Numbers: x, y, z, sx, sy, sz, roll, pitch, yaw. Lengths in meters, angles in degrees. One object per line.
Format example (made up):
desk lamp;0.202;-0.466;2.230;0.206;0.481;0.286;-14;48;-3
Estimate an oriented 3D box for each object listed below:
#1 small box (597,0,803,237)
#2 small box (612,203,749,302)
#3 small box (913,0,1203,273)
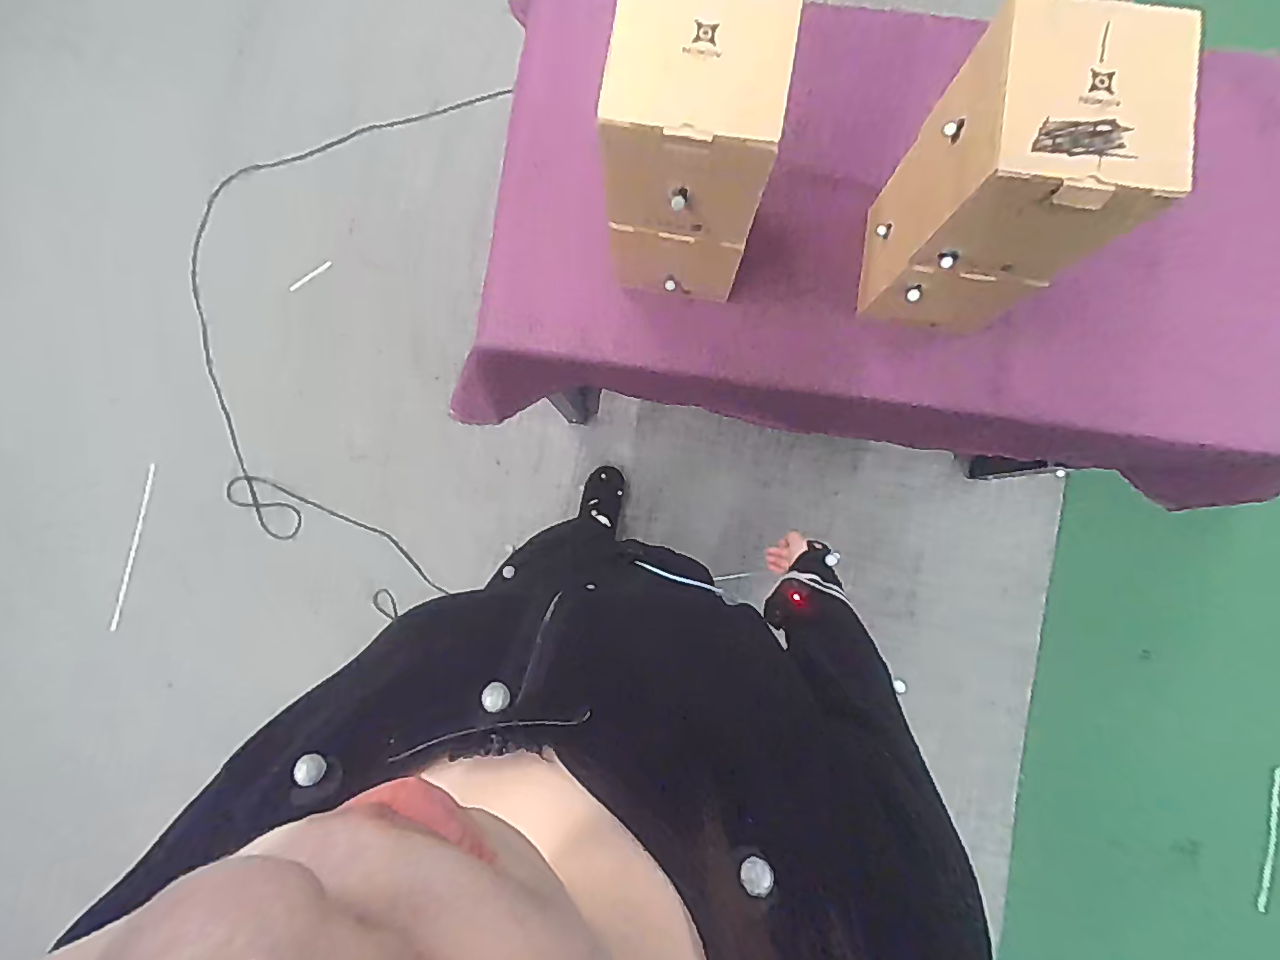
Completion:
small box;0.058;-0.381;0.560;0.168;0.176;0.179;9;86;2
small box;0.061;-0.365;0.725;0.168;0.176;0.179;9;86;3
small box;0.401;-0.334;0.549;0.168;0.176;0.179;8;84;2
